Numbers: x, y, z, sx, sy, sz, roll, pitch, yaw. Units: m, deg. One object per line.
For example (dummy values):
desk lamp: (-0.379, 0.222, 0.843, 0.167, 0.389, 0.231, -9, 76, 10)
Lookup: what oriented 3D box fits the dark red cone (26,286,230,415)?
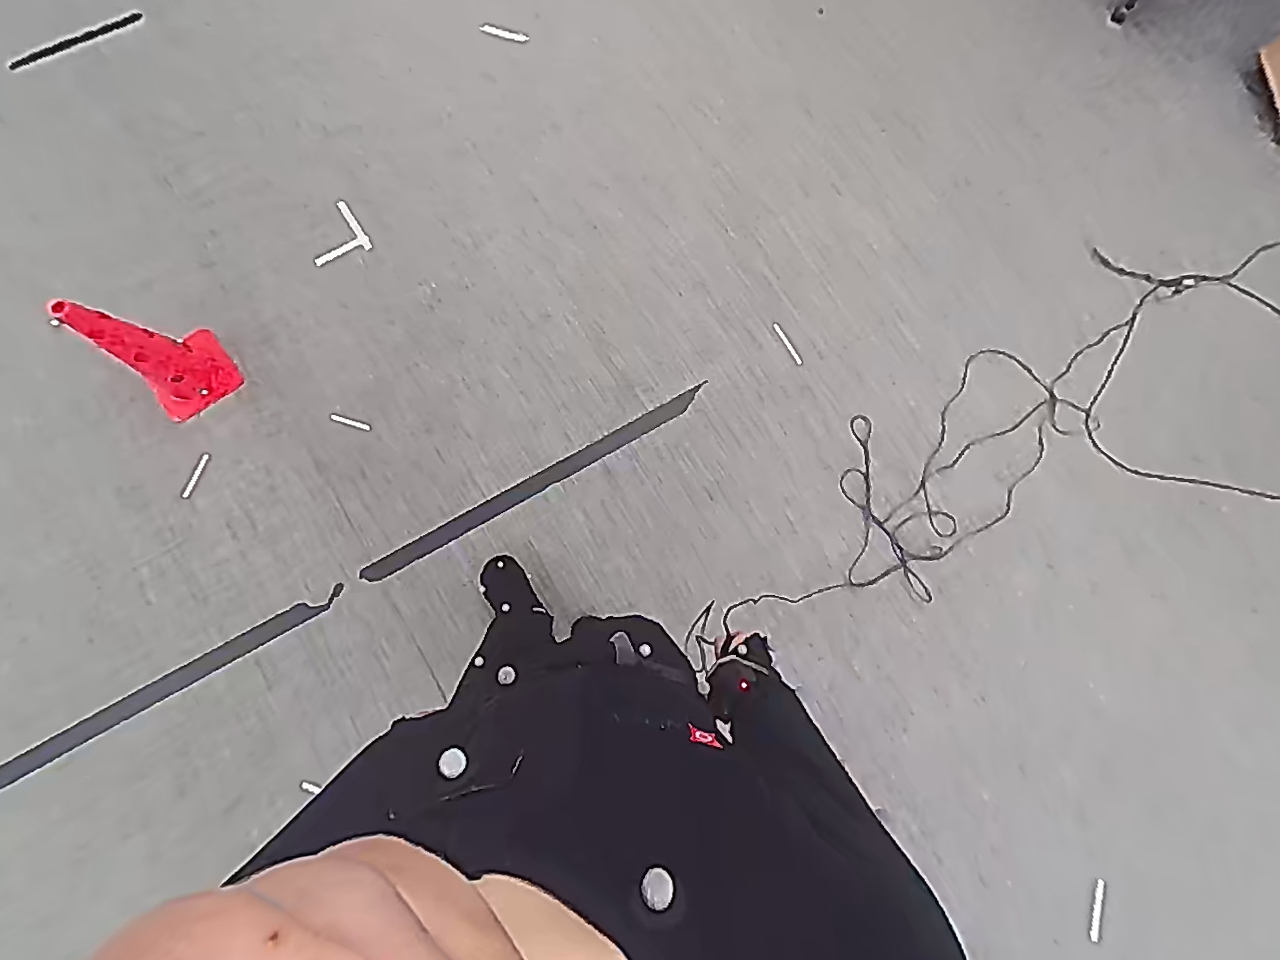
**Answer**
dark red cone: (-1.159, -0.315, 1.210, 0.202, 0.394, 0.201, -38, 85, -9)
